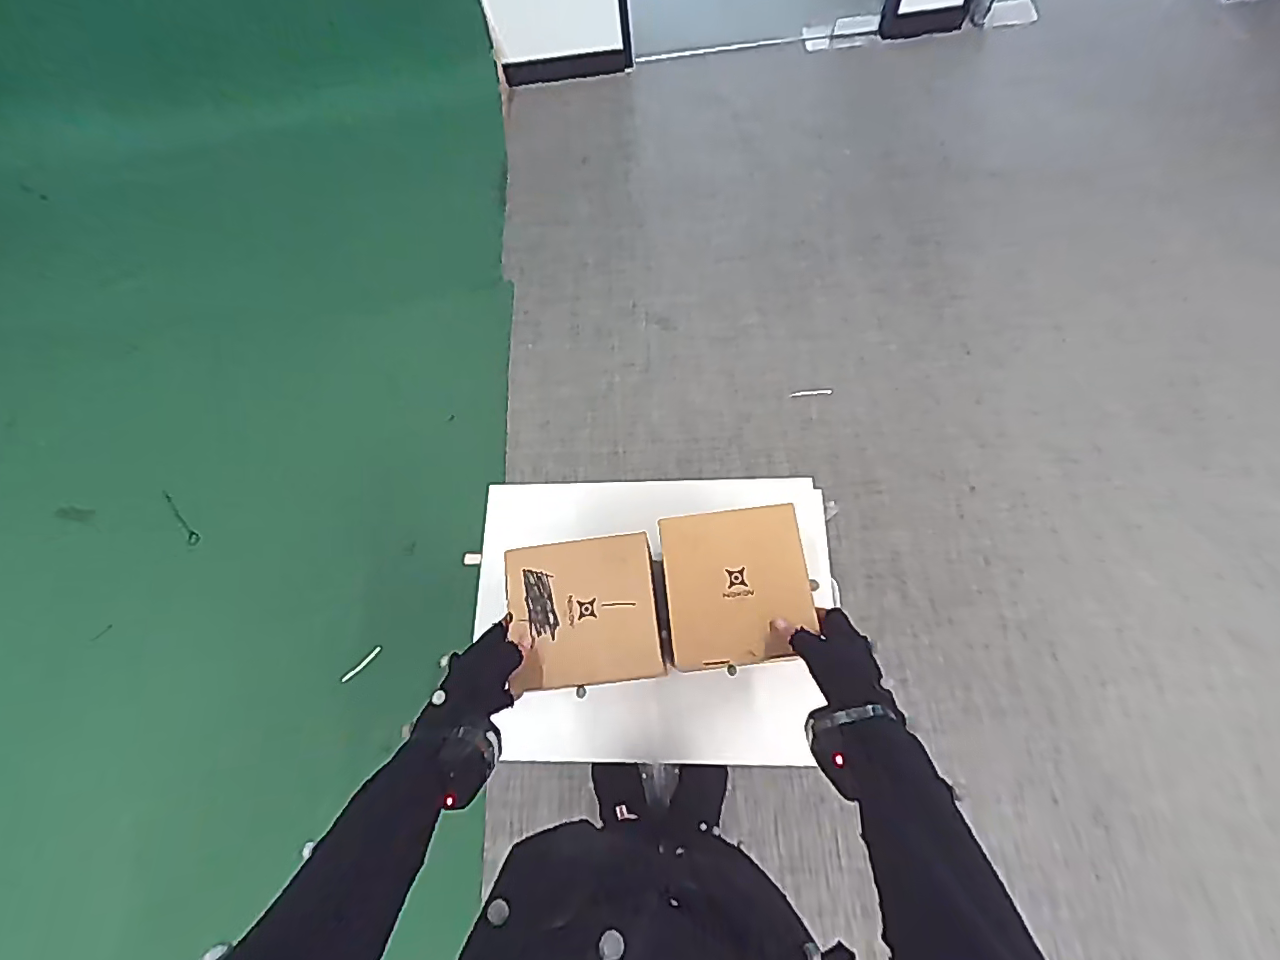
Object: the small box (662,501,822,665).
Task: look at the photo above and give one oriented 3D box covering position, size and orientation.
[{"bbox_3d":[0.119,0.141,0.699,0.168,0.176,0.179,-7,70,4],"label":"small box"}]
